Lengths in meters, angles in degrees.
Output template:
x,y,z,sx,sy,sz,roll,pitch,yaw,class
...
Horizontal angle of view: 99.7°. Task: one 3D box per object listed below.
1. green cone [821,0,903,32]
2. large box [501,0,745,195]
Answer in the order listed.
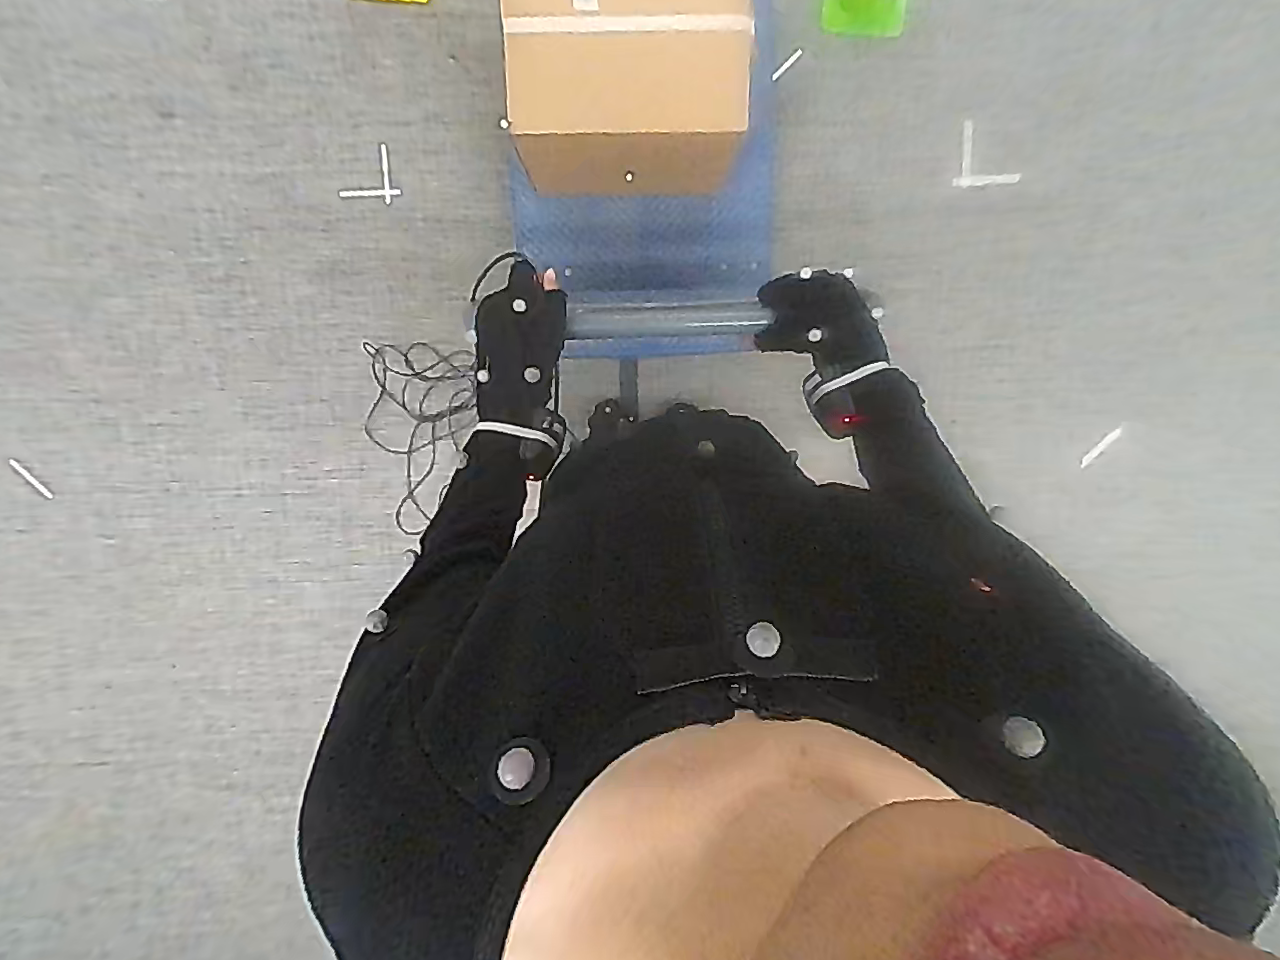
x,y,z,sx,sy,sz,roll,pitch,yaw,class
0.544,-1.161,1.125,0.202,0.368,0.200,2,99,-3,green cone
-0.027,-0.760,1.031,0.408,0.320,0.320,-1,100,-1,large box
